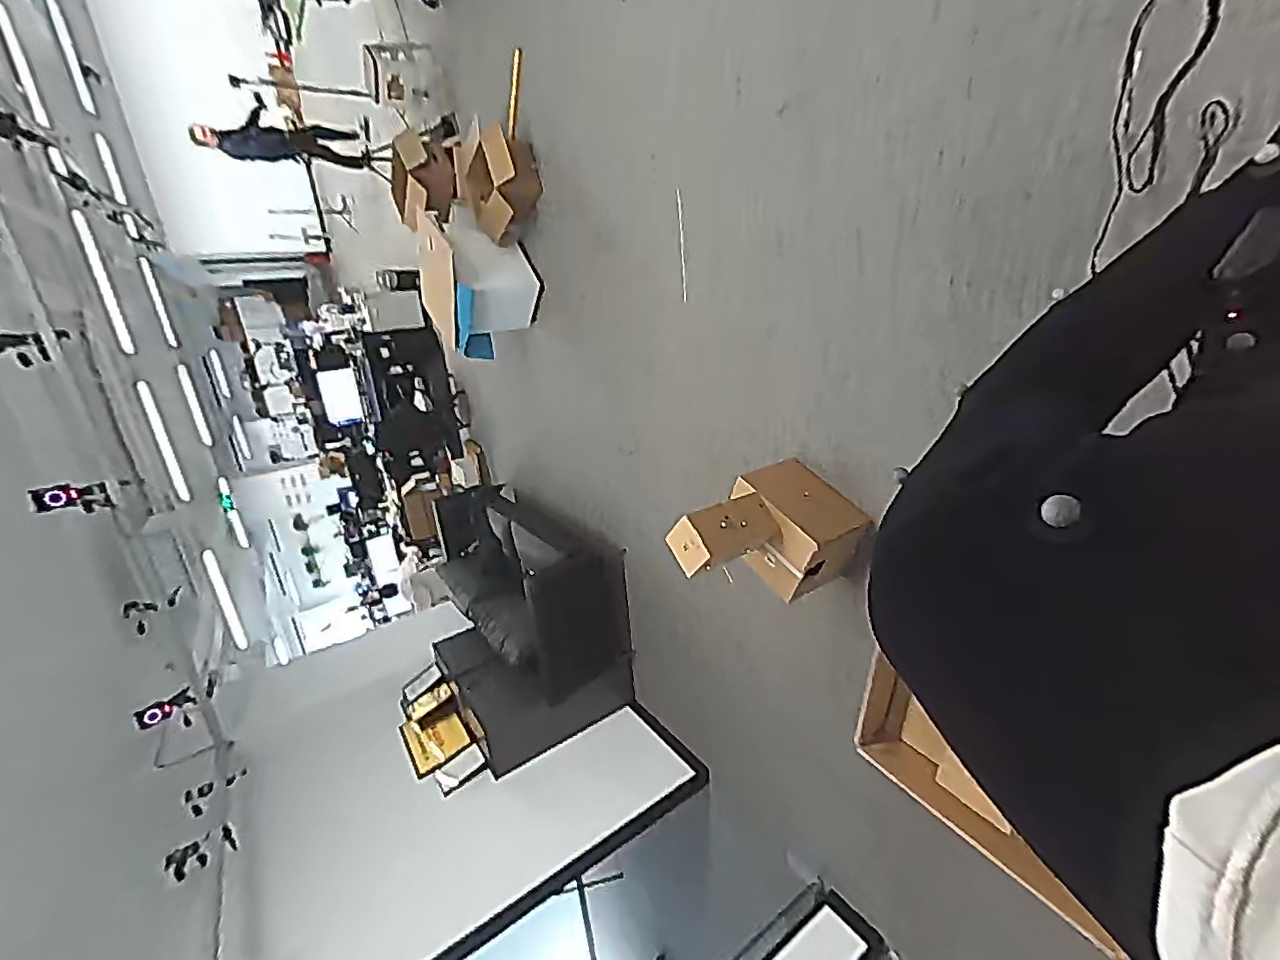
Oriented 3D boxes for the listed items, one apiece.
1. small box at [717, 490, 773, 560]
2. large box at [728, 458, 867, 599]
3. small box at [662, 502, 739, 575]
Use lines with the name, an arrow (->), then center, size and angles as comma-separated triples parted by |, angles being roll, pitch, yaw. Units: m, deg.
small box -> 0.344, 0.161, 1.940 | 0.168, 0.176, 0.179 | 60, 145, 20
large box -> 0.565, 0.169, 2.067 | 0.408, 0.320, 0.320 | 45, 139, 36
small box -> 0.208, 0.199, 1.853 | 0.168, 0.176, 0.179 | 59, 144, 21
